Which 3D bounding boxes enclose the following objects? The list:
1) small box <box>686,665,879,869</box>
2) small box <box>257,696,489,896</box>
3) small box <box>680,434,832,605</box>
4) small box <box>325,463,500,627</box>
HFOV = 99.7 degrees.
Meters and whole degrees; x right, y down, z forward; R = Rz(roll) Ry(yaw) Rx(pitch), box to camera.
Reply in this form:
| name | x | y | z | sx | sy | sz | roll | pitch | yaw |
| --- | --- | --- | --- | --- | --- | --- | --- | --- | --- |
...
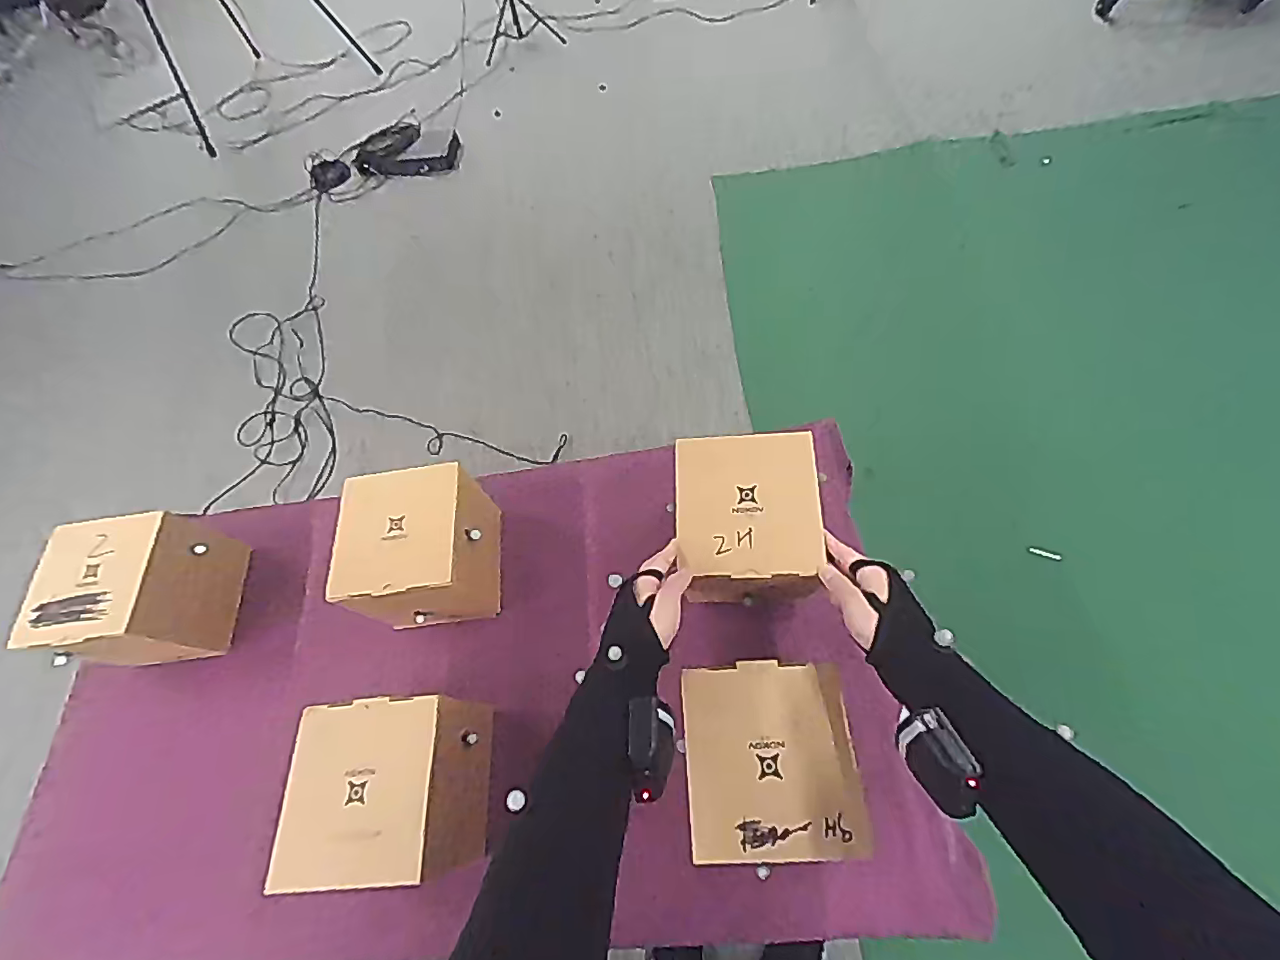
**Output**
| name | x | y | z | sx | sy | sz | roll | pitch | yaw |
| --- | --- | --- | --- | --- | --- | --- | --- | --- | --- |
| small box | 0.139 | 0.313 | 0.594 | 0.168 | 0.176 | 0.179 | -5 | 59 | 6 |
| small box | -0.286 | 0.359 | 0.628 | 0.168 | 0.176 | 0.179 | -6 | 61 | 5 |
| small box | 0.140 | 0.057 | 0.693 | 0.168 | 0.176 | 0.179 | -2 | 68 | 10 |
| small box | -0.306 | 0.098 | 0.768 | 0.168 | 0.176 | 0.179 | -7 | 63 | 3 |
